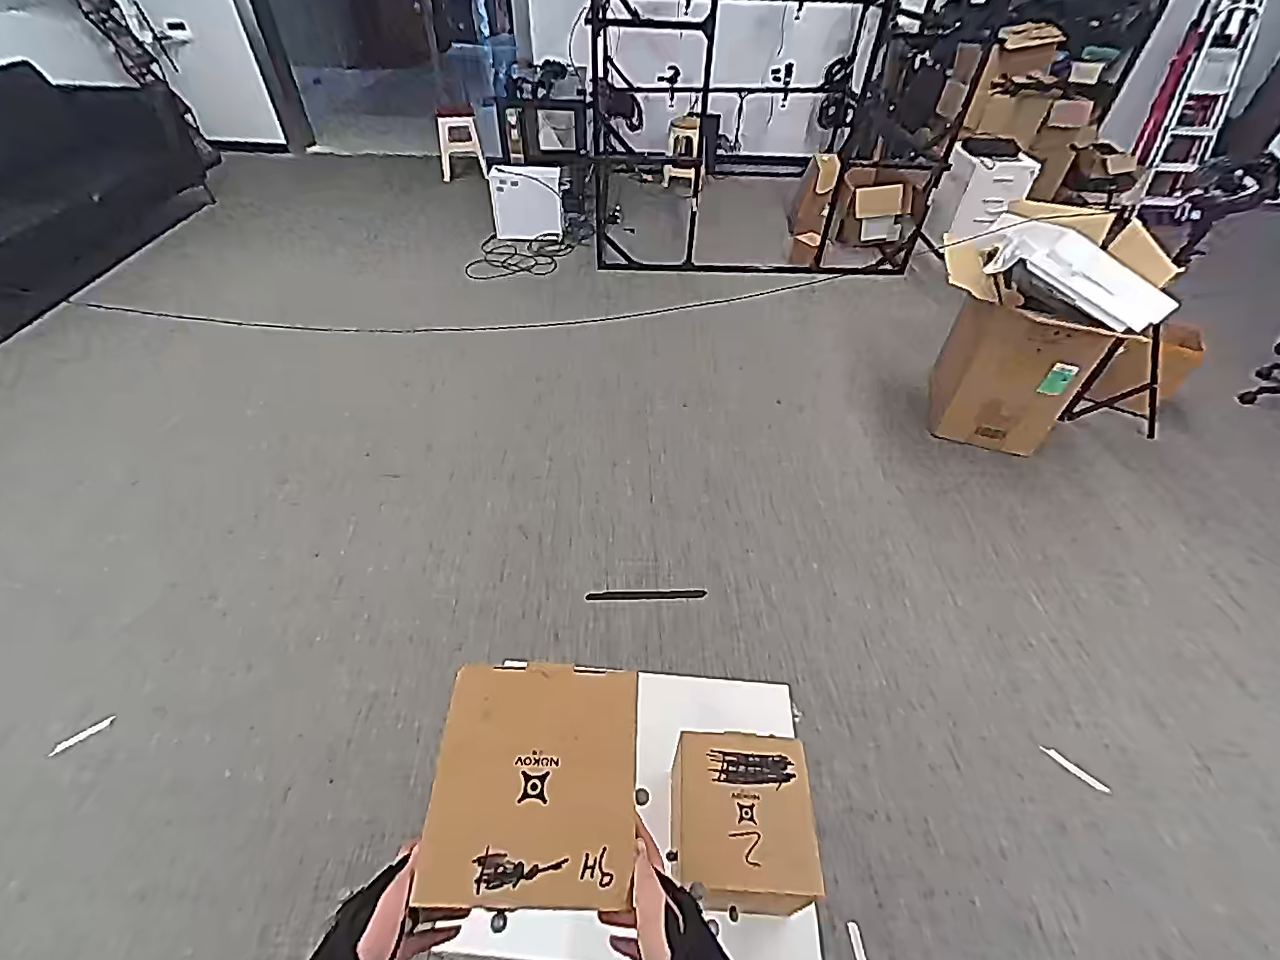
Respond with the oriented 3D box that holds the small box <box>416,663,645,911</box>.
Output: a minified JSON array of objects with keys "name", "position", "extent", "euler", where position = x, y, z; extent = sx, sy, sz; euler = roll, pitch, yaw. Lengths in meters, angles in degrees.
[{"name":"small box","position":[-0.084,0.289,0.506],"extent":[0.168,0.176,0.179],"euler":[3,53,-1]}]
